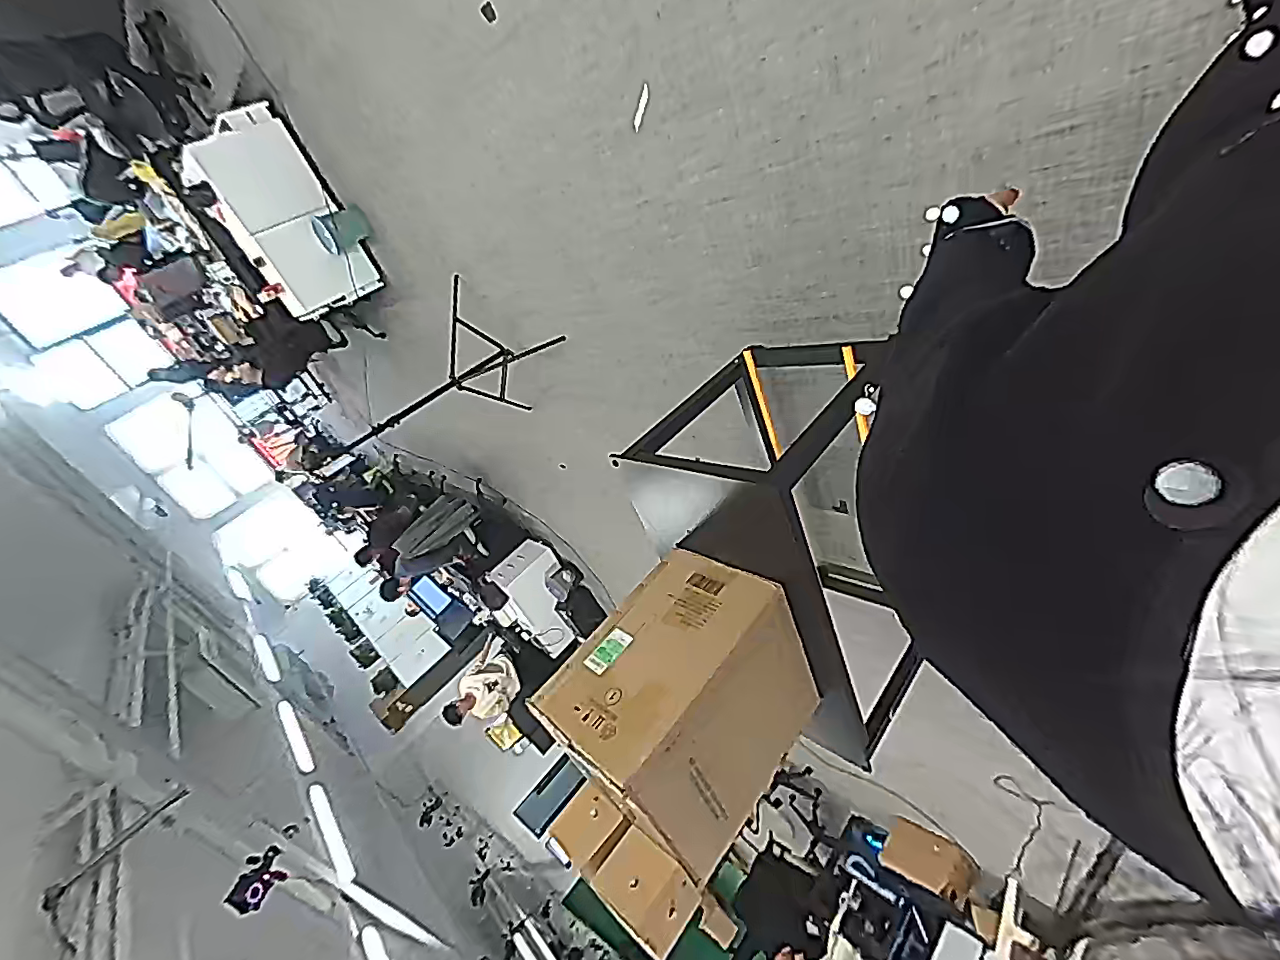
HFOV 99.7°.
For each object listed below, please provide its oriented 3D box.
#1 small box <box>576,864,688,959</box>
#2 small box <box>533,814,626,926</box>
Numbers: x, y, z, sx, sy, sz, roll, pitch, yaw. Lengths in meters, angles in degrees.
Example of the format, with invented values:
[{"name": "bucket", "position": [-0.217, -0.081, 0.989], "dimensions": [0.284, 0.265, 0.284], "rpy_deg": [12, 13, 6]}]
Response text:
[{"name": "small box", "position": [-0.010, 1.060, 1.269], "dimensions": [0.179, 0.176, 0.168], "rpy_deg": [4, 128, 48]}, {"name": "small box", "position": [-0.143, 1.036, 1.425], "dimensions": [0.168, 0.176, 0.179], "rpy_deg": [15, 138, 48]}]
